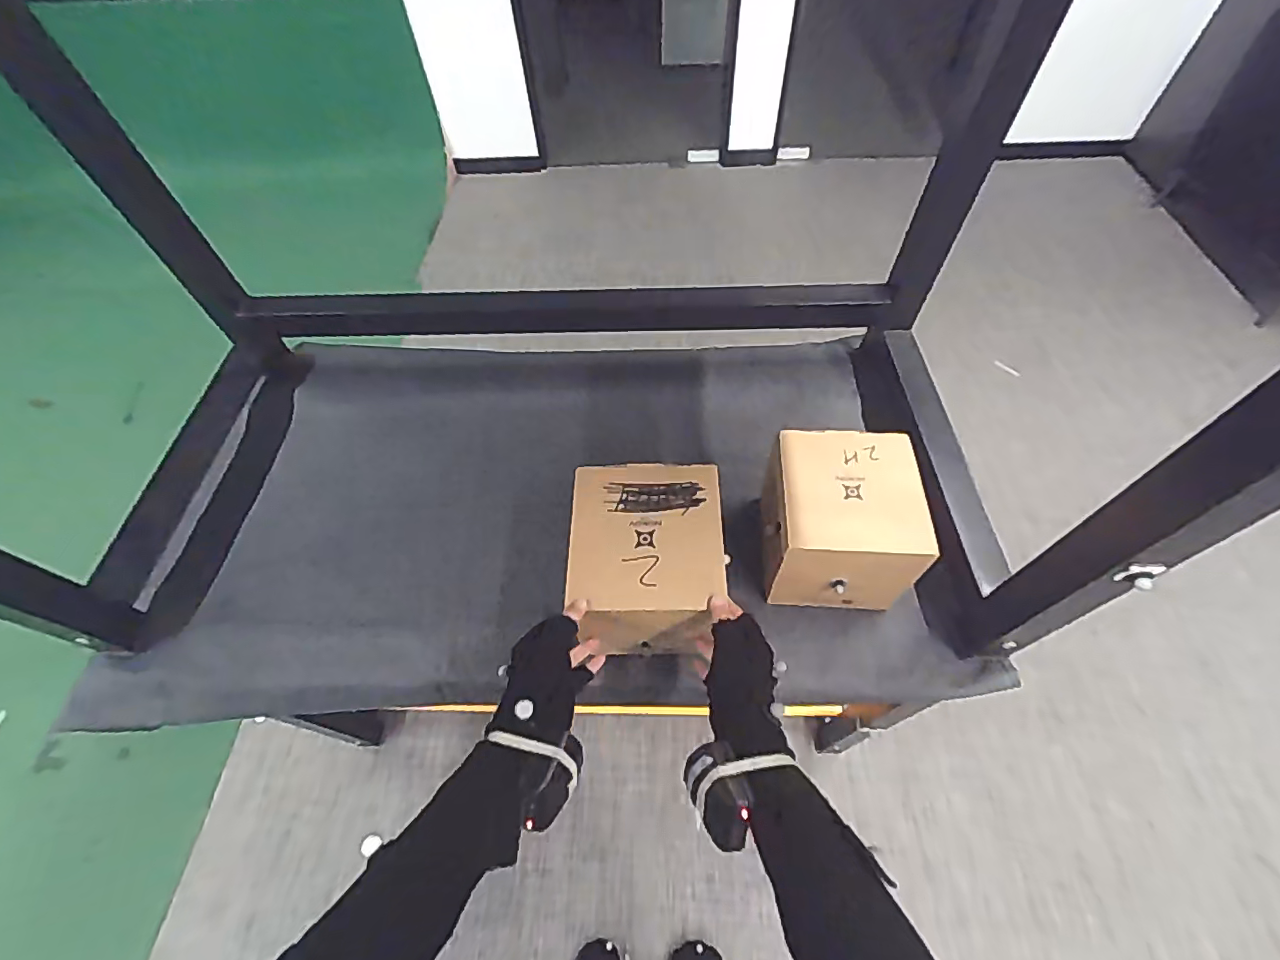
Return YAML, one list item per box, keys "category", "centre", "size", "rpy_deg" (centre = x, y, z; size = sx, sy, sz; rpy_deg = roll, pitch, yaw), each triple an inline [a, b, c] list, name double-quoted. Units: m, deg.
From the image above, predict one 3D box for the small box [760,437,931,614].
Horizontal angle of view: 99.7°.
- category: "small box"
  centre: [0.254, 0.065, 0.716]
  size: [0.168, 0.176, 0.179]
  rpy_deg: [3, 55, 5]
